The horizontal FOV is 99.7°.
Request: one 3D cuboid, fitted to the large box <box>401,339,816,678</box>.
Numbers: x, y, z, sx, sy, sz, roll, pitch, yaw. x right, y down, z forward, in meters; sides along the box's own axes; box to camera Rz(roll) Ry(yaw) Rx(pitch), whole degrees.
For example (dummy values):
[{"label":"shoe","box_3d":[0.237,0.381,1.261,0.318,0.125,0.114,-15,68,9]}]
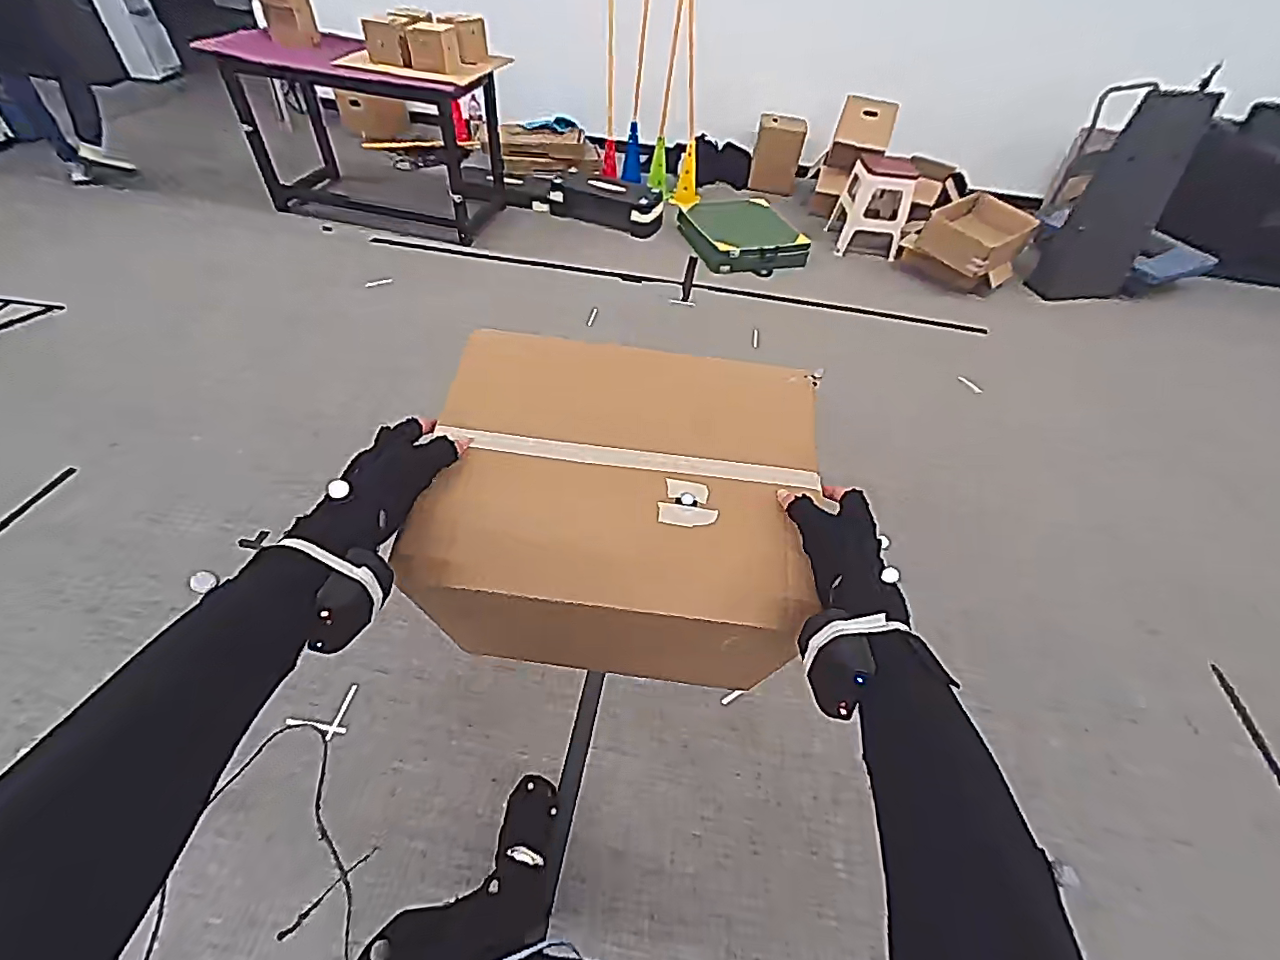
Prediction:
[{"label":"large box","box_3d":[-0.027,0.055,0.709,0.408,0.320,0.320,7,61,0]}]
